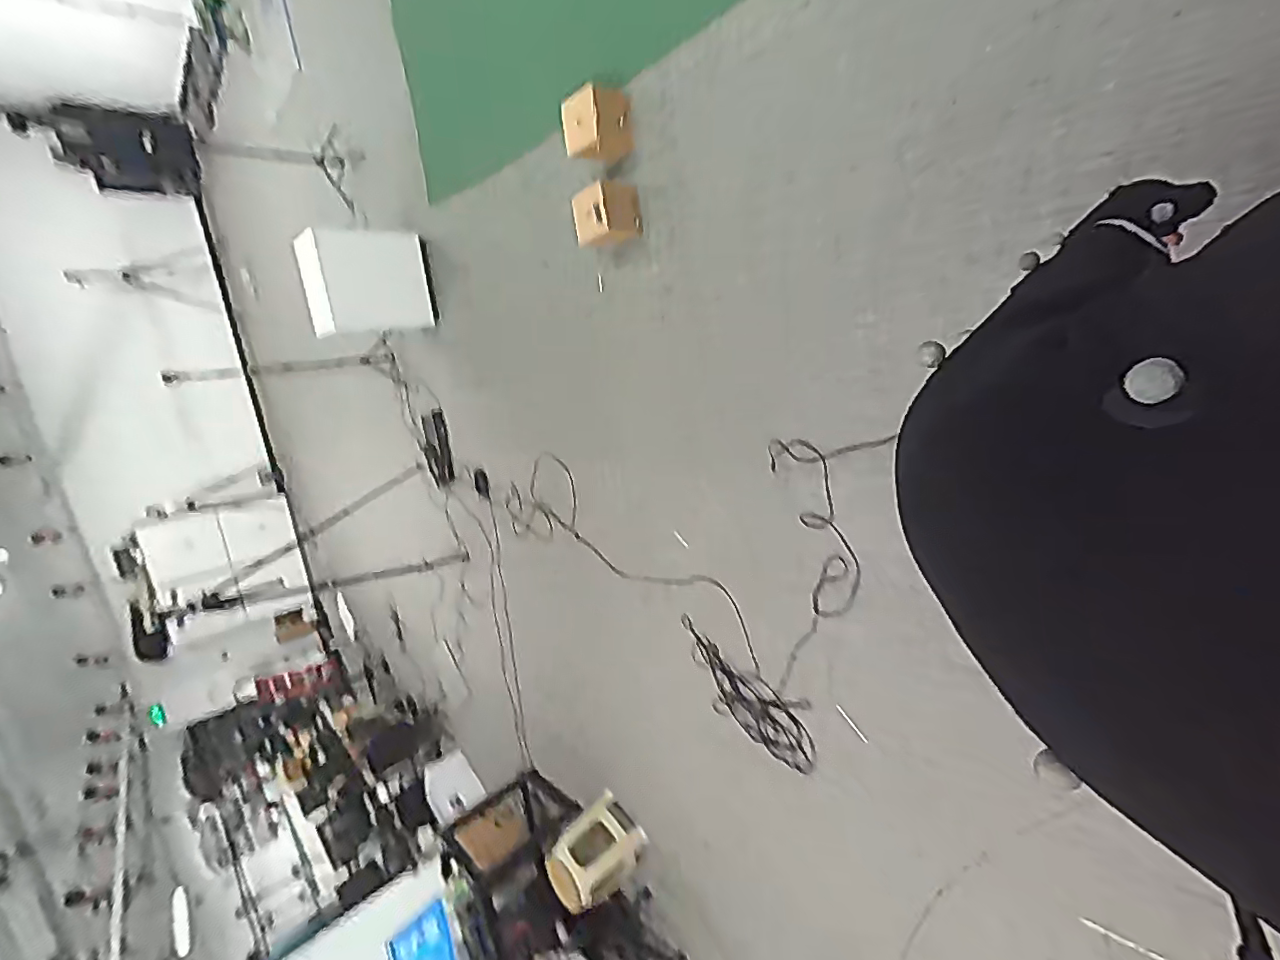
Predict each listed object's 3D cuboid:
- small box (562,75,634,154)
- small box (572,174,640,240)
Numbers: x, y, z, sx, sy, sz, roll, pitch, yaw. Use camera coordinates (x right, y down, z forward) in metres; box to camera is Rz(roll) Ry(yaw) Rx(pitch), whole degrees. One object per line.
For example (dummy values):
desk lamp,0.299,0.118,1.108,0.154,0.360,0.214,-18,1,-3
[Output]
small box,-0.144,-1.261,1.882,0.179,0.176,0.168,6,109,46
small box,-0.116,-0.978,1.950,0.179,0.176,0.168,1,104,48
